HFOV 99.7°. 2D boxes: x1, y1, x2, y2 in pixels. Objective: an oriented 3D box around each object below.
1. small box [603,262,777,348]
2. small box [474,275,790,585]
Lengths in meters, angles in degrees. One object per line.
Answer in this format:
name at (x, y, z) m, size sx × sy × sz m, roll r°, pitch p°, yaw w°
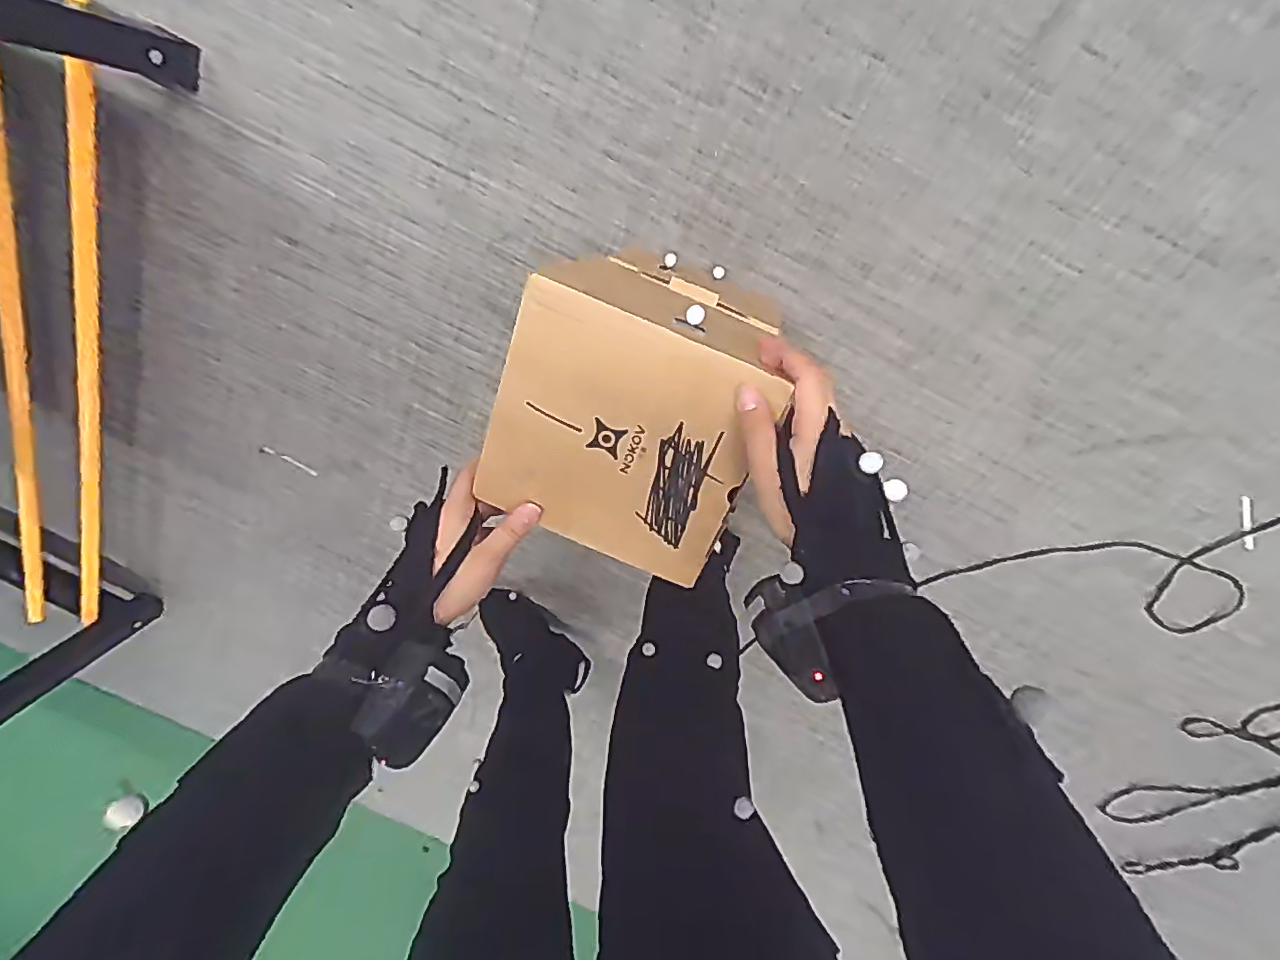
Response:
small box at (0.029, -0.120, 0.580) m, size 0.168 × 0.176 × 0.179 m, roll 23°, pitch 116°, yaw 1°
small box at (0.000, -0.054, 0.434) m, size 0.179 × 0.176 × 0.168 m, roll 24°, pitch 116°, yaw 1°
